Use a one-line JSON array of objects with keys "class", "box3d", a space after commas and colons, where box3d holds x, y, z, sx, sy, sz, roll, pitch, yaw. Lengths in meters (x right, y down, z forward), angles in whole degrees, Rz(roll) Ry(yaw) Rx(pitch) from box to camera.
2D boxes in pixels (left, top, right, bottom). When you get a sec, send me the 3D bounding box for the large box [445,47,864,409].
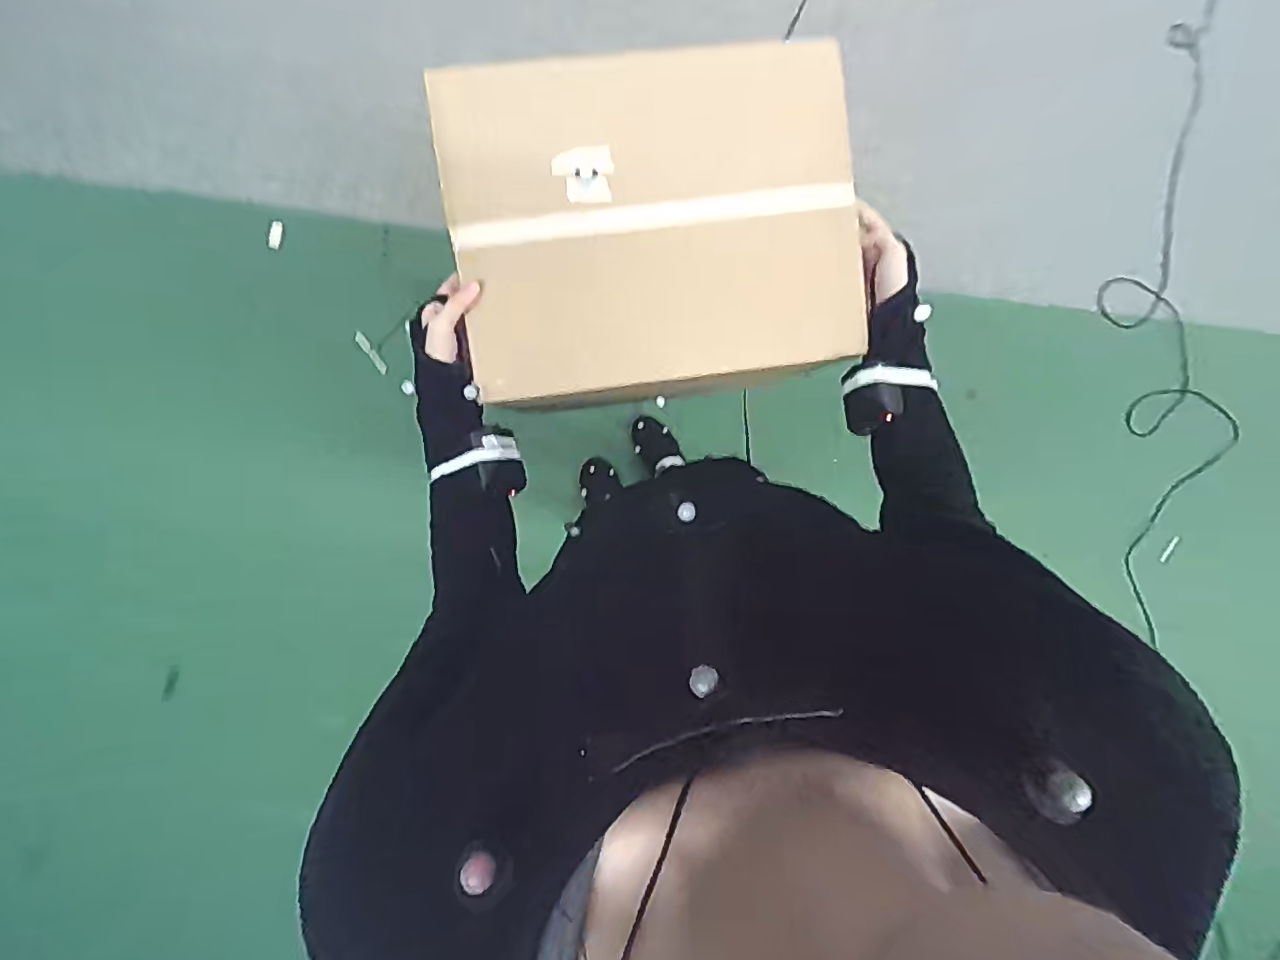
[{"class": "large box", "box3d": [0.015, -0.273, 0.696, 0.408, 0.320, 0.320, -7, 94, -3]}]
